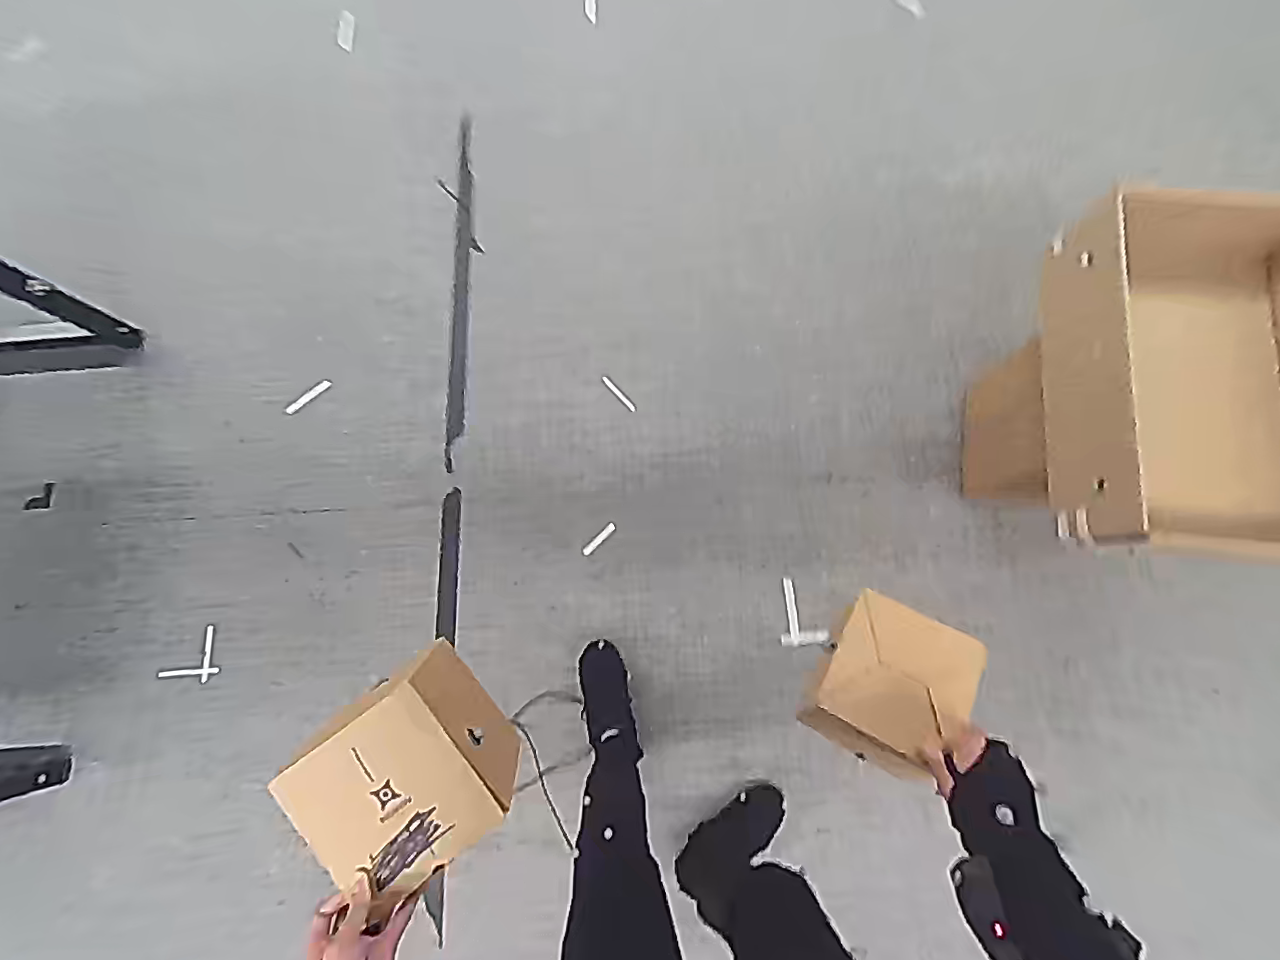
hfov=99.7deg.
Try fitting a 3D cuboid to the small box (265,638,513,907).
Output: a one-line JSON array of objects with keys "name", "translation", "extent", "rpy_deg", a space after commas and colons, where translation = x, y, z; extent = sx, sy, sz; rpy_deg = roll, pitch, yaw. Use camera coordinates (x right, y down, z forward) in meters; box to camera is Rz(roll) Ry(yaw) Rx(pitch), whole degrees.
[{"name": "small box", "translation": [-0.263, 0.312, 0.620], "extent": [0.168, 0.176, 0.179], "rpy_deg": [-36, 93, -7]}]

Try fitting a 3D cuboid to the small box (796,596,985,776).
[{"name": "small box", "translation": [0.336, 0.278, 0.740], "extent": [0.168, 0.176, 0.179], "rpy_deg": [25, 66, 19]}]
